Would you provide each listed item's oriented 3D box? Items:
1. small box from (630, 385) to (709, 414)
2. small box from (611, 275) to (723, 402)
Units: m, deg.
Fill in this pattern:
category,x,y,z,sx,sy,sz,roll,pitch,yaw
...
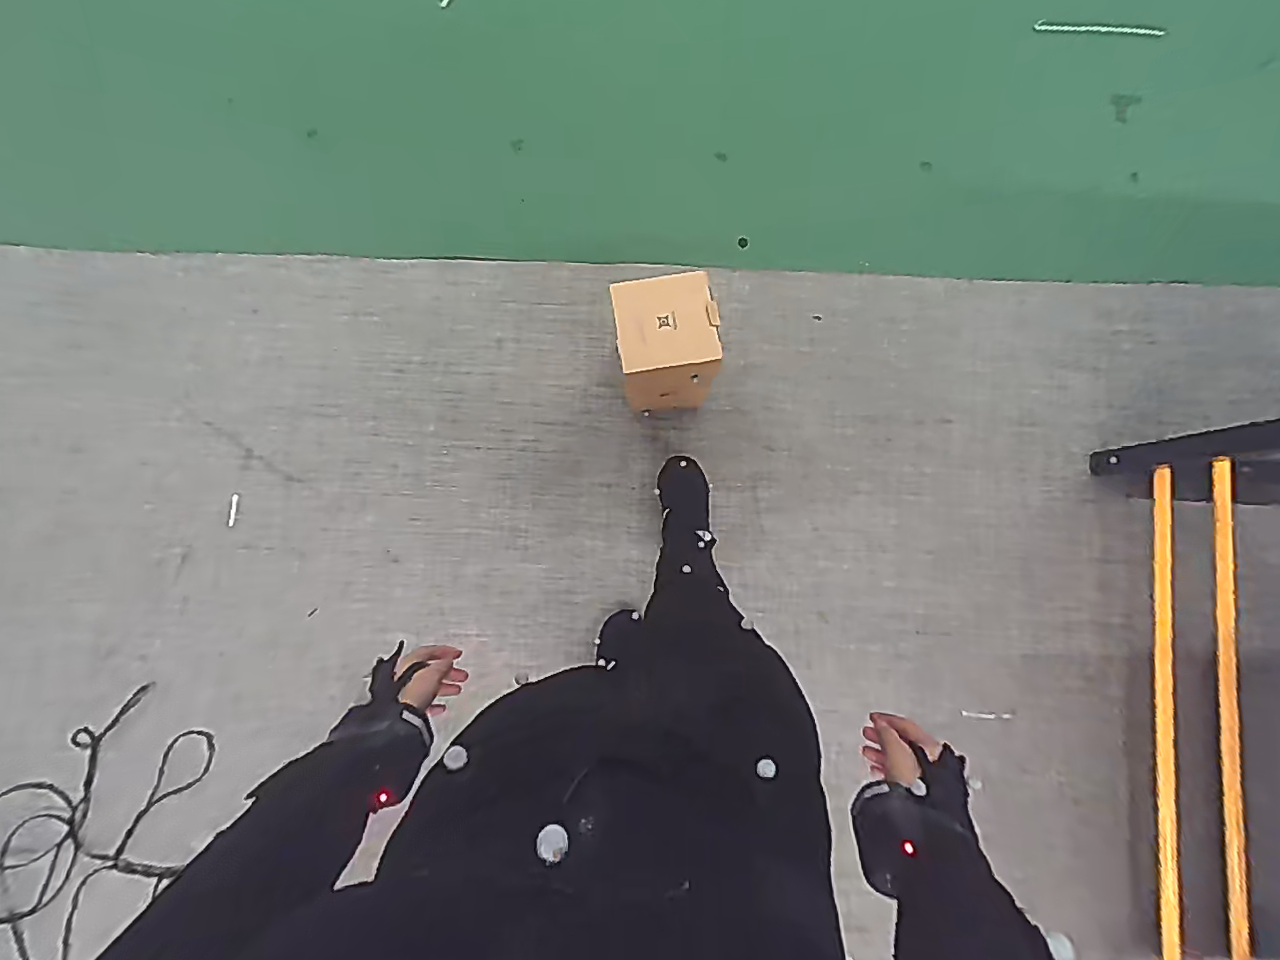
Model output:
category,x,y,z,sx,sy,sz,roll,pitch,yaw
small box,0.052,-0.248,1.178,0.168,0.176,0.179,-7,83,-1
small box,0.046,-0.257,1.016,0.179,0.176,0.168,-10,82,0
